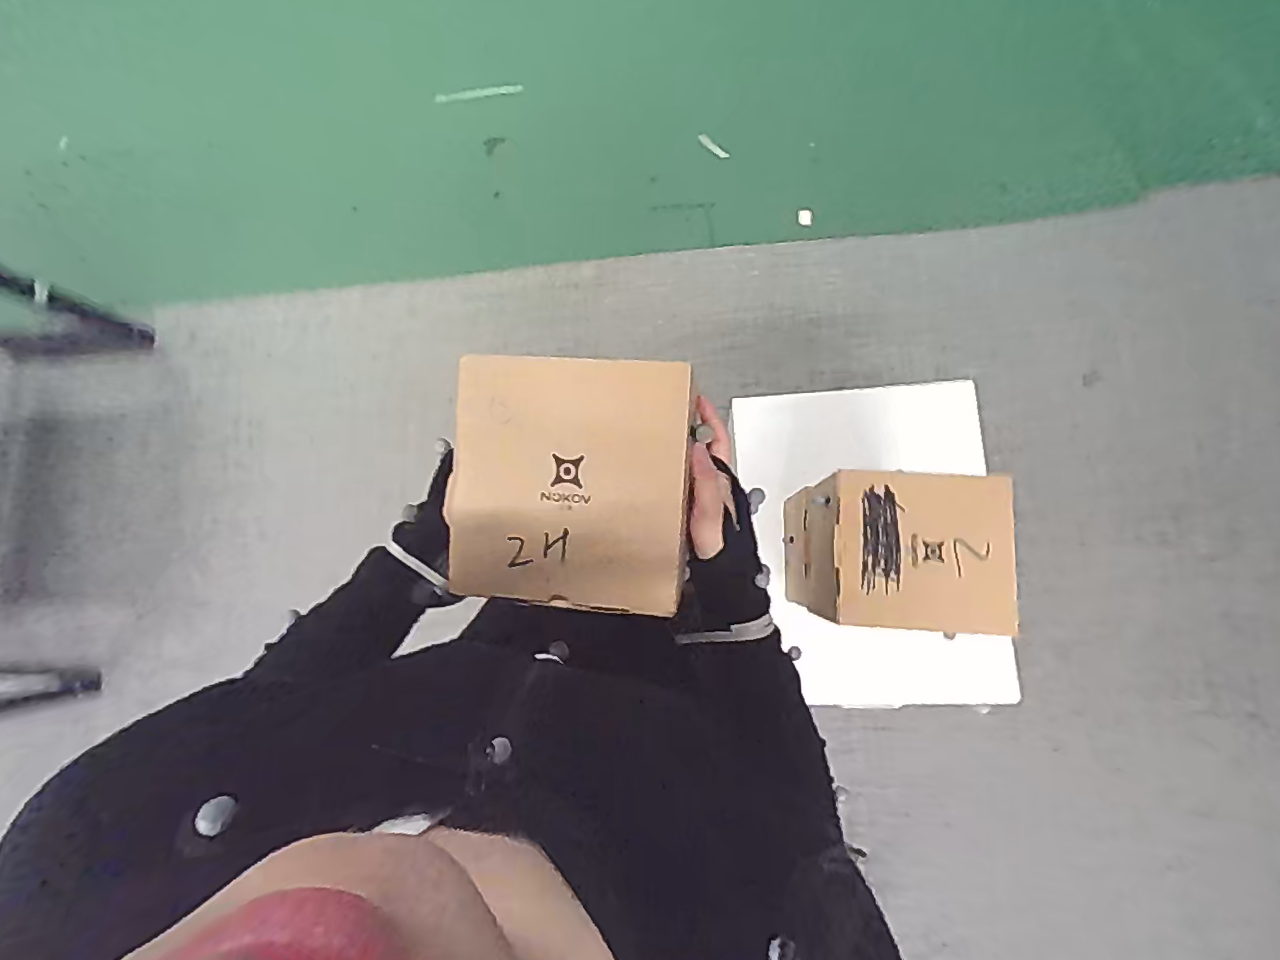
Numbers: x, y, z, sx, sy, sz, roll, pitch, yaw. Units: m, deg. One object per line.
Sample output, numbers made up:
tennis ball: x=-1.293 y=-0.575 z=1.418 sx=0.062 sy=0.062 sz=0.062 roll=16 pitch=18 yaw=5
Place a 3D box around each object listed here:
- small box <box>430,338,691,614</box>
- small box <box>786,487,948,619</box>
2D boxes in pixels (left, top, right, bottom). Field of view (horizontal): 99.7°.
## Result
small box: x=-0.047 y=-0.005 z=0.438 sx=0.168 sy=0.176 sz=0.179 roll=4 pitch=92 yaw=7
small box: x=0.313 y=0.104 z=0.778 sx=0.179 sy=0.176 sz=0.168 roll=1 pitch=81 yaw=6
